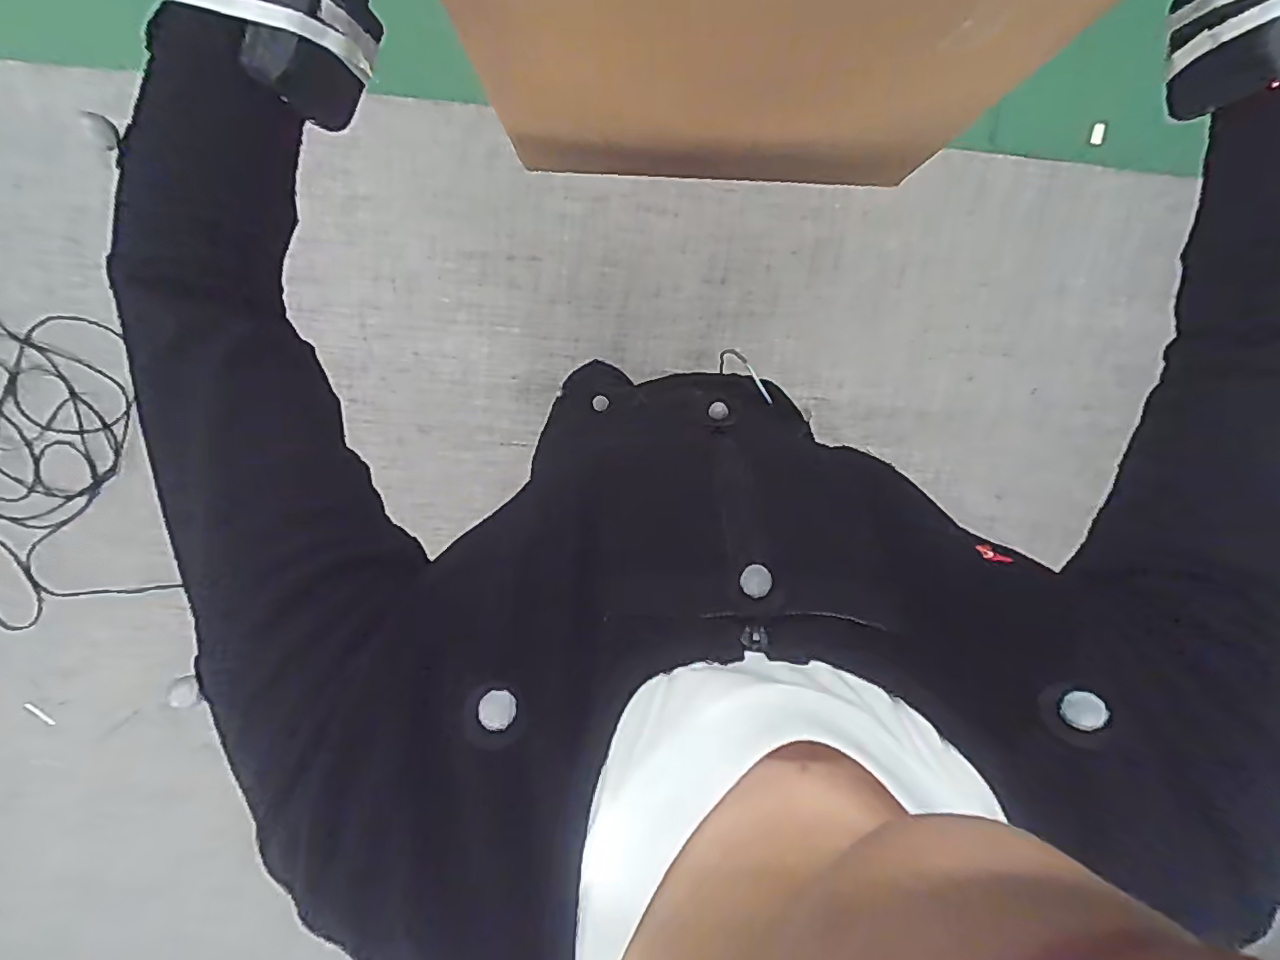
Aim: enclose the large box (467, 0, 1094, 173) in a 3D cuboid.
[{"bbox_3d":[0.085,-0.459,0.413,0.408,0.320,0.320,1,100,-2],"label":"large box"}]
